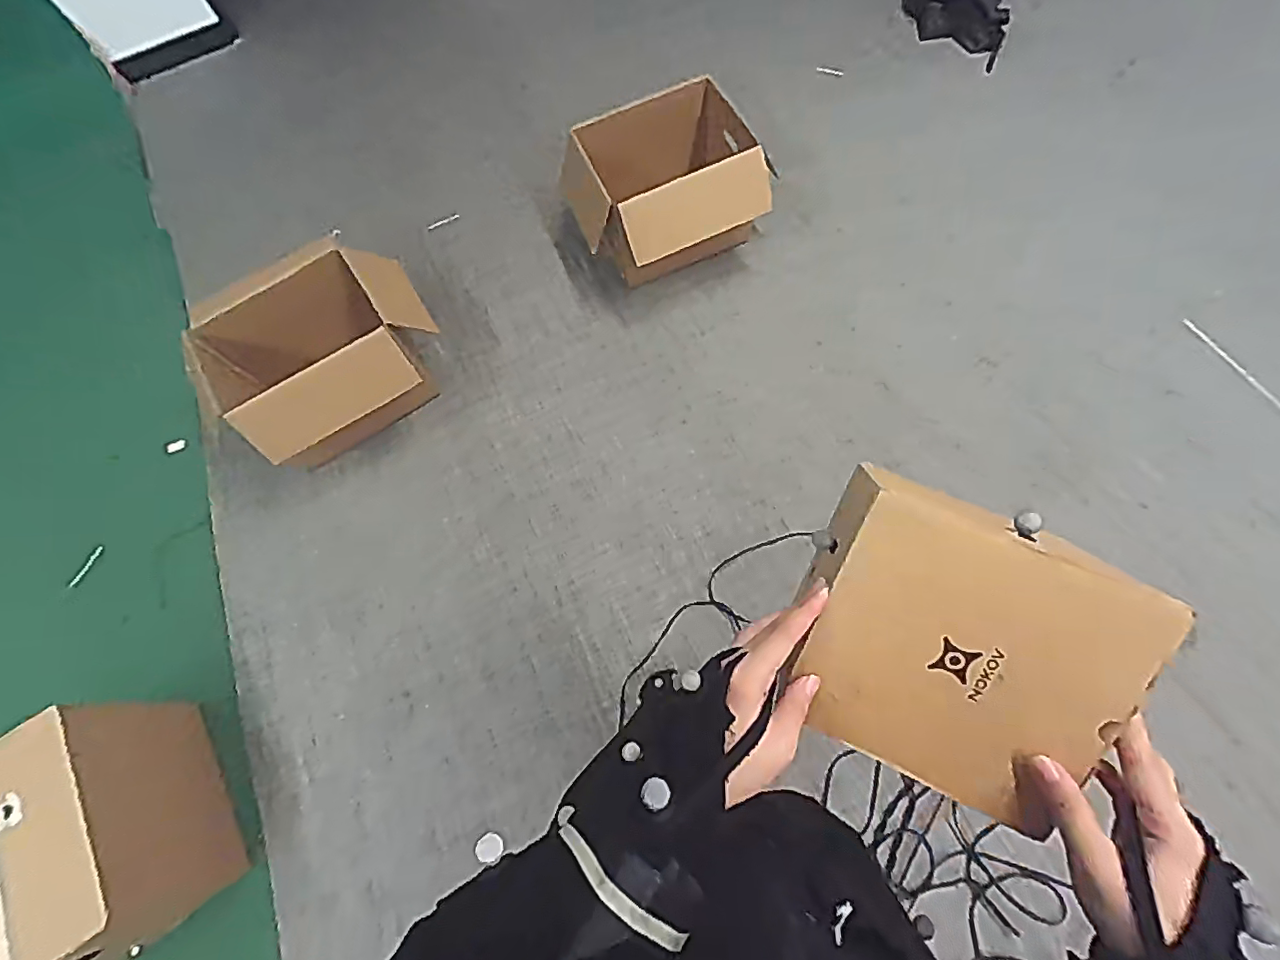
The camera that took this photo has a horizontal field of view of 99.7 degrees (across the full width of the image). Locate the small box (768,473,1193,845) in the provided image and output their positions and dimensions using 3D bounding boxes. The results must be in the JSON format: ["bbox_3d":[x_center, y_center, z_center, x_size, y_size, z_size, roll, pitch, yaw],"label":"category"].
[{"bbox_3d":[0.211,0.101,0.397,0.179,0.176,0.168,24,102,13],"label":"small box"}]
